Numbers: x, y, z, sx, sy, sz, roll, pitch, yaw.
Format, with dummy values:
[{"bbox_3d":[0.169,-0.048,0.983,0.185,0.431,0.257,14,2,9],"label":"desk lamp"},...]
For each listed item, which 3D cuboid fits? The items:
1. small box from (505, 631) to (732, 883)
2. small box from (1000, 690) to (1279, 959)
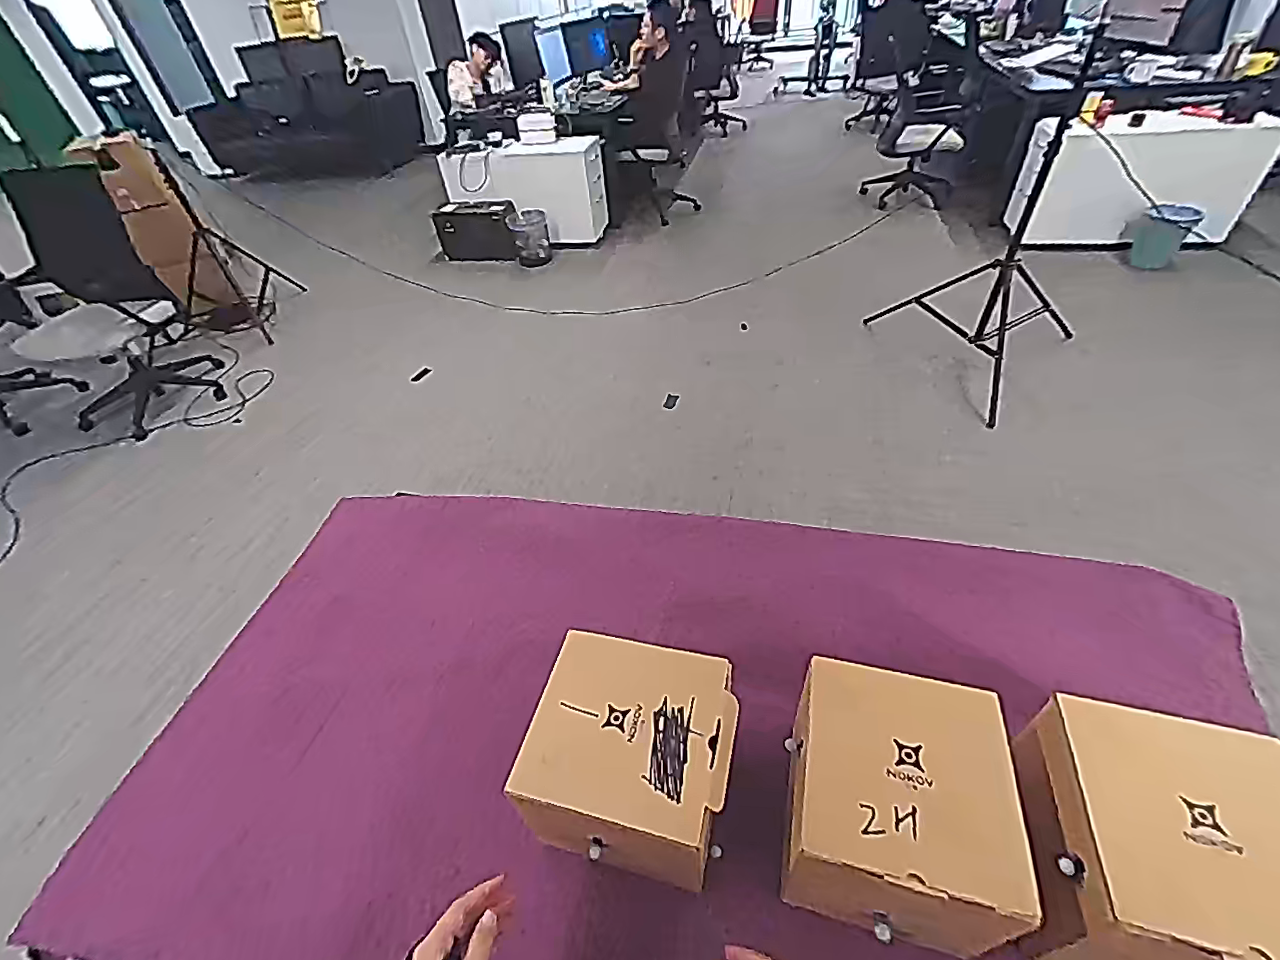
[{"bbox_3d":[-0.006,0.284,0.556,0.179,0.176,0.168,6,45,16],"label":"small box"},{"bbox_3d":[0.438,0.316,0.463,0.168,0.176,0.179,7,44,15],"label":"small box"}]
